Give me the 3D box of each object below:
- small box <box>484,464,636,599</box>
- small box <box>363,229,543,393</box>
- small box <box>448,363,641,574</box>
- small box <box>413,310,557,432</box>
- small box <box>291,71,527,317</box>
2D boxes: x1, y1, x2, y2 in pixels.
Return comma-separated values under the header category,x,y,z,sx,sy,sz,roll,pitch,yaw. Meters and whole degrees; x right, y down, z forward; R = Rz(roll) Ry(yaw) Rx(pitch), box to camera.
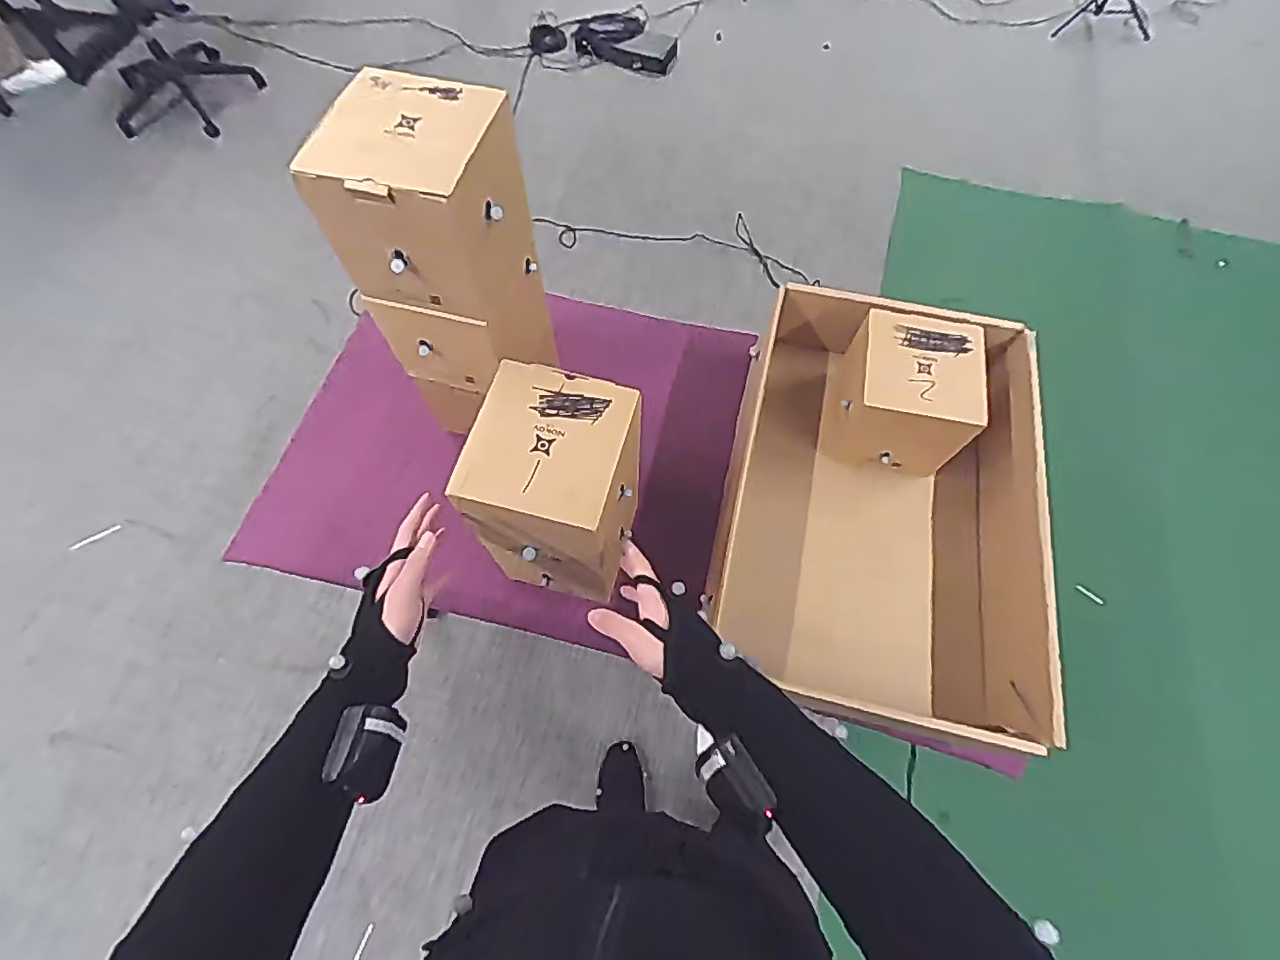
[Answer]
category,x,y,z,sx,sy,sz,roll,pitch,yaw
small box,-0.105,0.062,0.802,0.168,0.176,0.179,14,65,5
small box,-0.246,-0.243,0.766,0.168,0.176,0.179,13,65,4
small box,-0.101,-0.007,0.654,0.168,0.176,0.179,14,66,6
small box,-0.246,-0.180,0.915,0.168,0.176,0.179,14,66,4
small box,-0.240,-0.316,0.619,0.168,0.176,0.179,13,66,4
